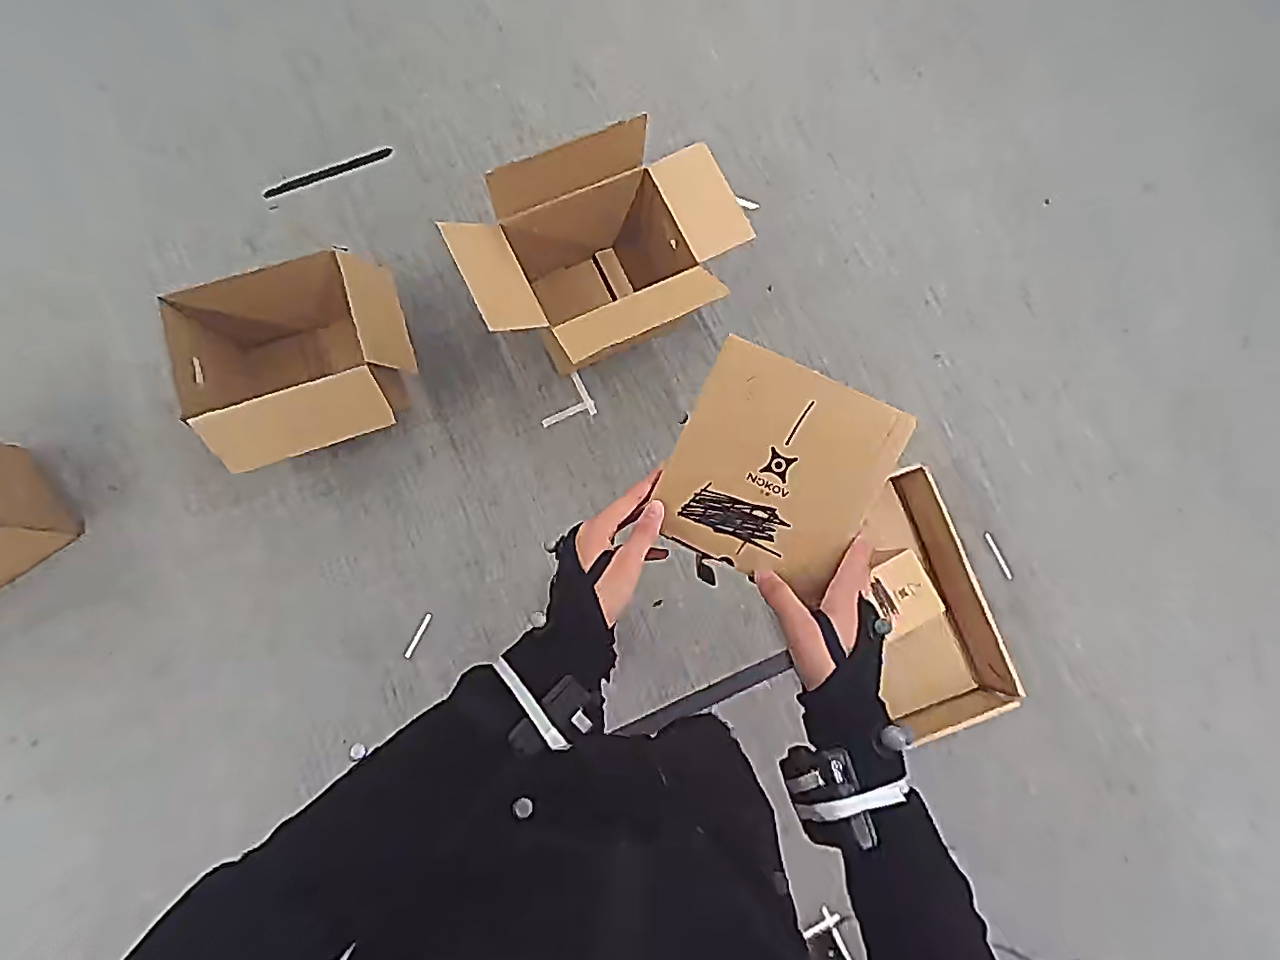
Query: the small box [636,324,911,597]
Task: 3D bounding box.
[{"bbox_3d":[0.116,-0.022,0.516,0.168,0.176,0.179,26,99,4],"label":"small box"}]
